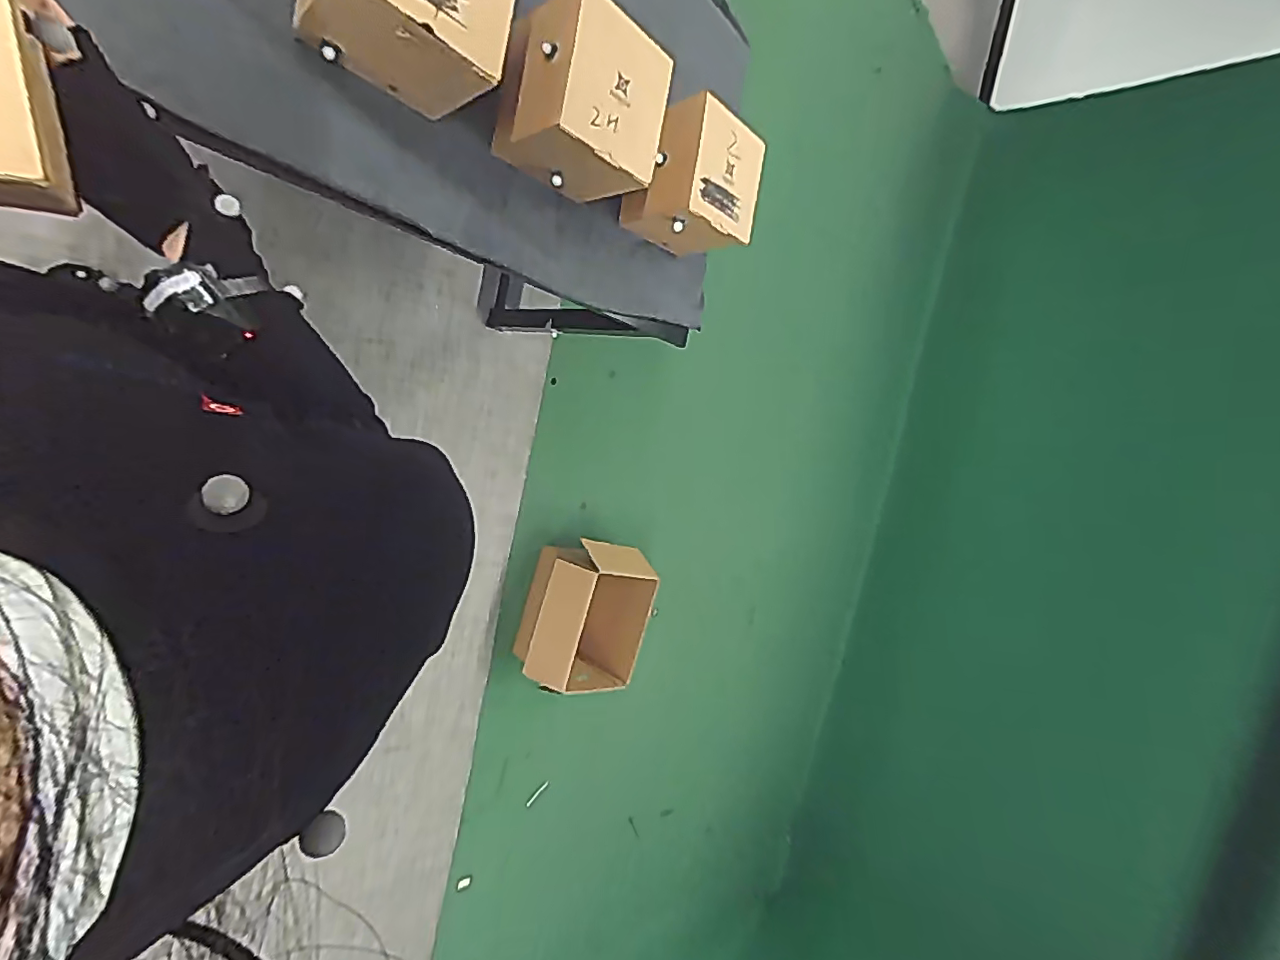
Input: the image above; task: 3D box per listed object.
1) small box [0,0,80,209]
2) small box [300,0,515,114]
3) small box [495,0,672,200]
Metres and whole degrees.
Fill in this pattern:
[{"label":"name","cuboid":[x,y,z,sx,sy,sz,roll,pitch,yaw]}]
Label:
[{"label":"small box","cuboid":[-0.405,-0.246,0.261,0.168,0.176,0.179,-10,113,-41]},{"label":"small box","cuboid":[-0.250,-0.544,0.588,0.168,0.176,0.179,7,96,-46]},{"label":"small box","cuboid":[-0.083,-0.526,0.762,0.168,0.176,0.179,6,98,-46]}]
